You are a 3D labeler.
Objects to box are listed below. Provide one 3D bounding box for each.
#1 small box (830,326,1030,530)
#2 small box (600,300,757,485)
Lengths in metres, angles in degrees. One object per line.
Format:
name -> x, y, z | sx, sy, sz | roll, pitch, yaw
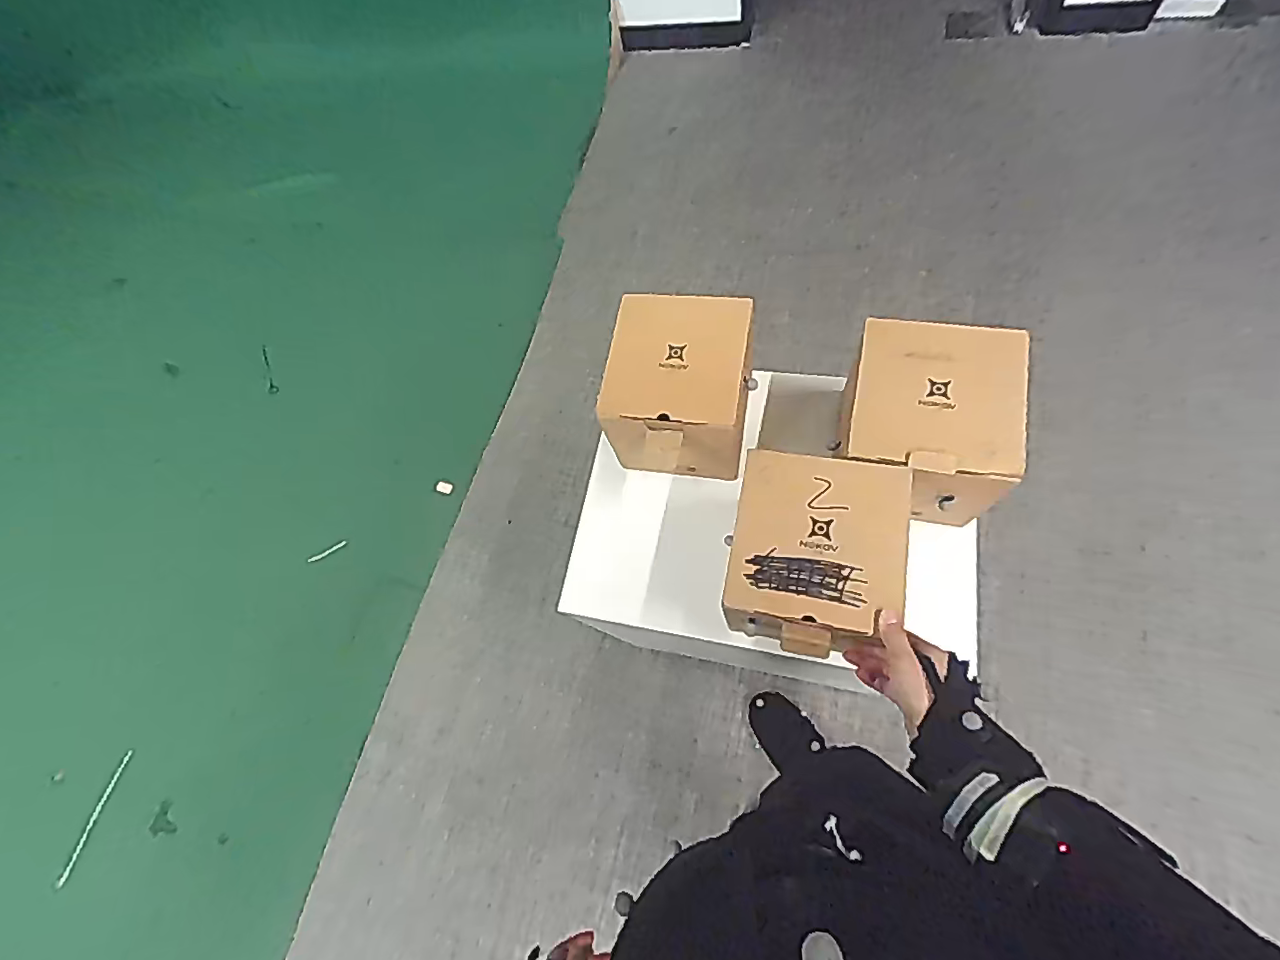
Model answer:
small box -> 0.328, -0.054, 0.638 | 0.168, 0.176, 0.179 | 10, 70, 14
small box -> 0.060, -0.111, 0.716 | 0.168, 0.176, 0.179 | 7, 71, 13
